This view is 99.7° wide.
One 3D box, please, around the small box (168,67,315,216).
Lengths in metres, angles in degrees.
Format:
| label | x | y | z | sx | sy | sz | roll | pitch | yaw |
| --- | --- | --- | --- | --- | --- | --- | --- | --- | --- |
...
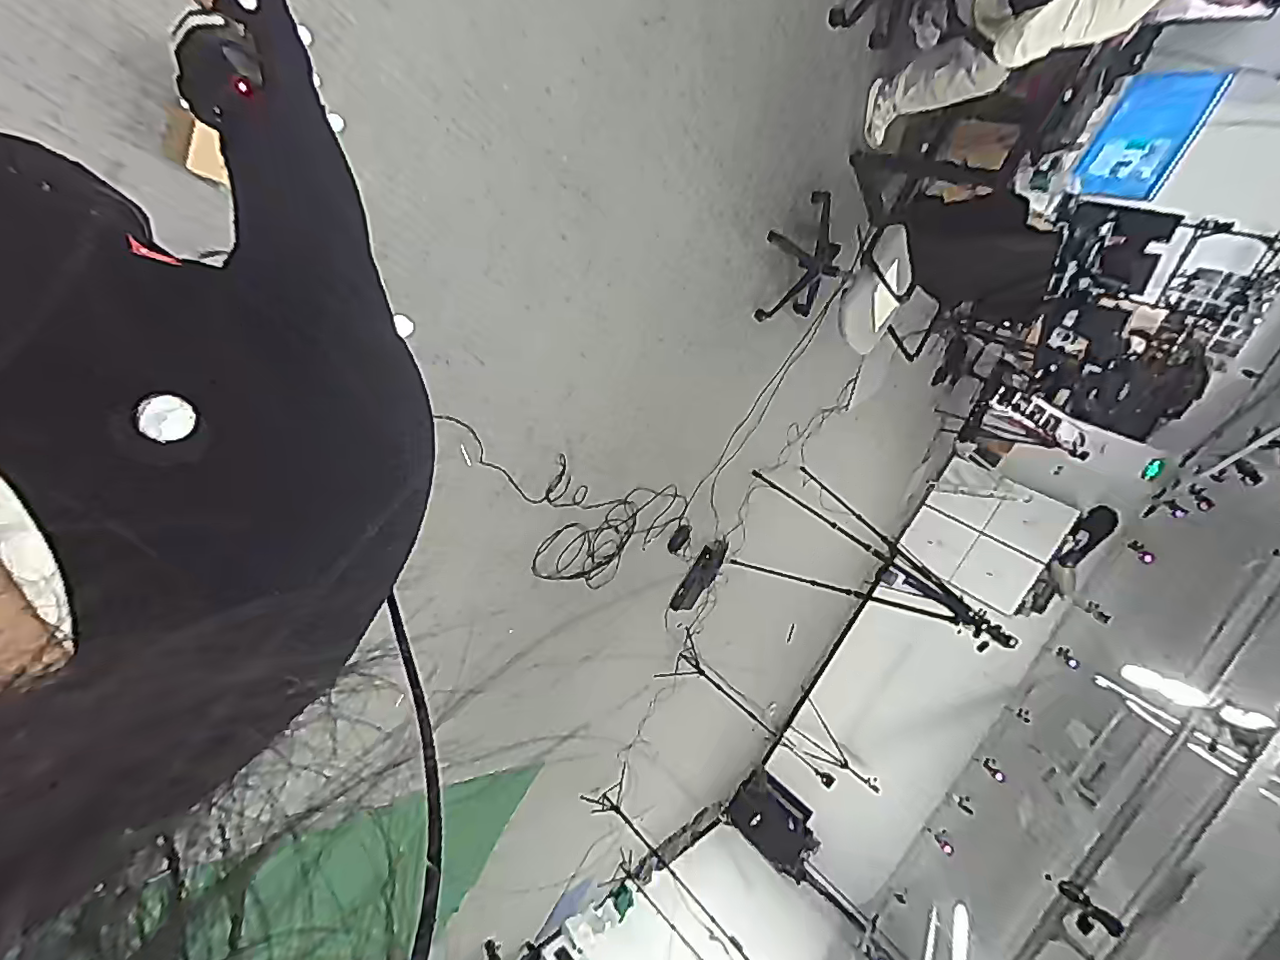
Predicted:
| label | x | y | z | sx | sy | sz | roll | pitch | yaw |
| --- | --- | --- | --- | --- | --- | --- | --- | --- | --- |
| small box | -0.752 | -0.636 | 1.016 | 0.168 | 0.176 | 0.179 | 7 | 112 | -54 |
